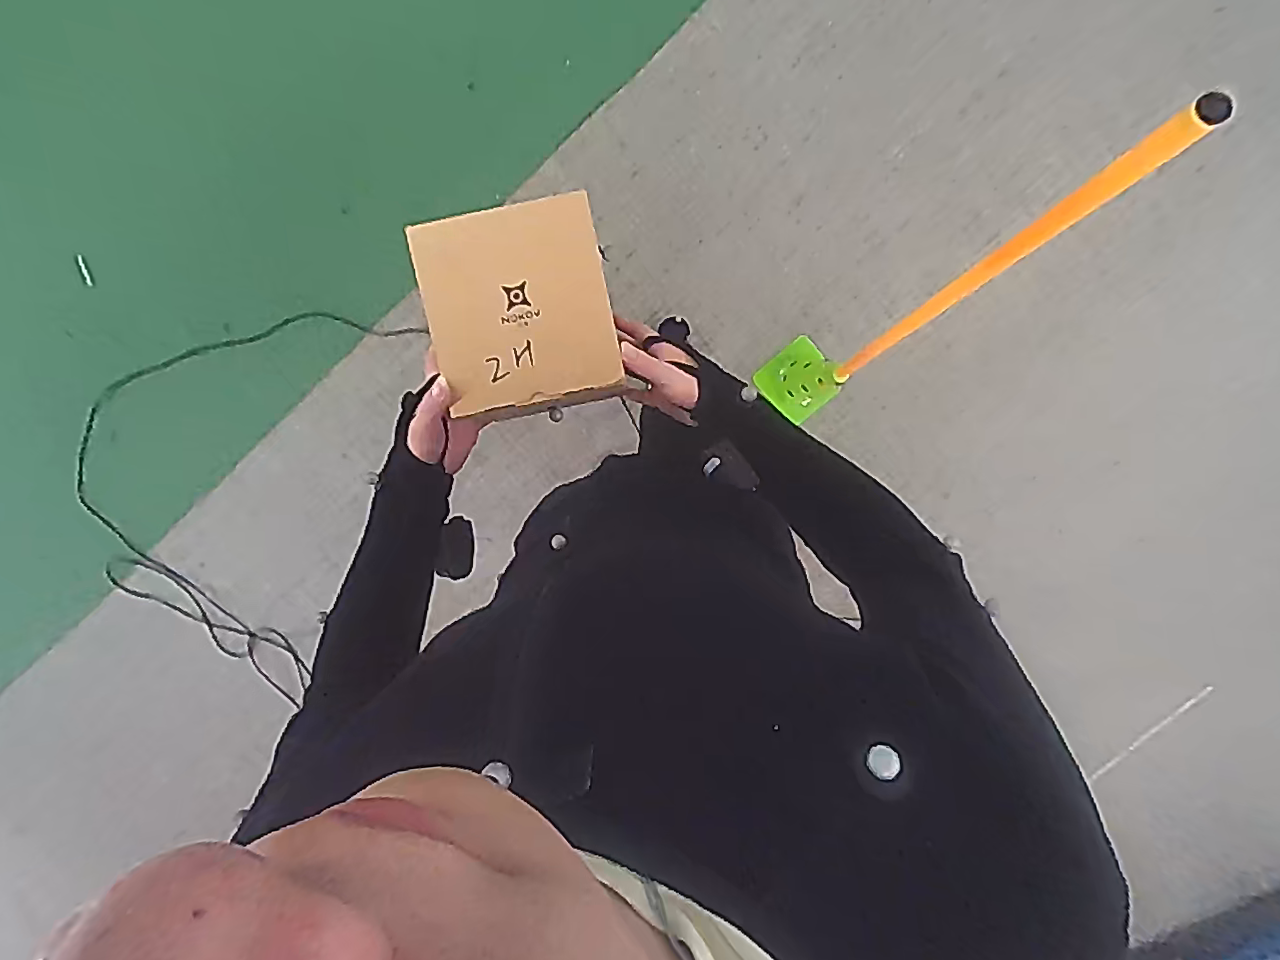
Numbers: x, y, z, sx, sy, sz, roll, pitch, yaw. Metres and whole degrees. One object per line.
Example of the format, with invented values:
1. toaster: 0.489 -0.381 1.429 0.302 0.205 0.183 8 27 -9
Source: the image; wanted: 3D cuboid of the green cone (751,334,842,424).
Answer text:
1. green cone: 0.449 -0.271 1.409 0.202 0.368 0.200 -40 95 6
